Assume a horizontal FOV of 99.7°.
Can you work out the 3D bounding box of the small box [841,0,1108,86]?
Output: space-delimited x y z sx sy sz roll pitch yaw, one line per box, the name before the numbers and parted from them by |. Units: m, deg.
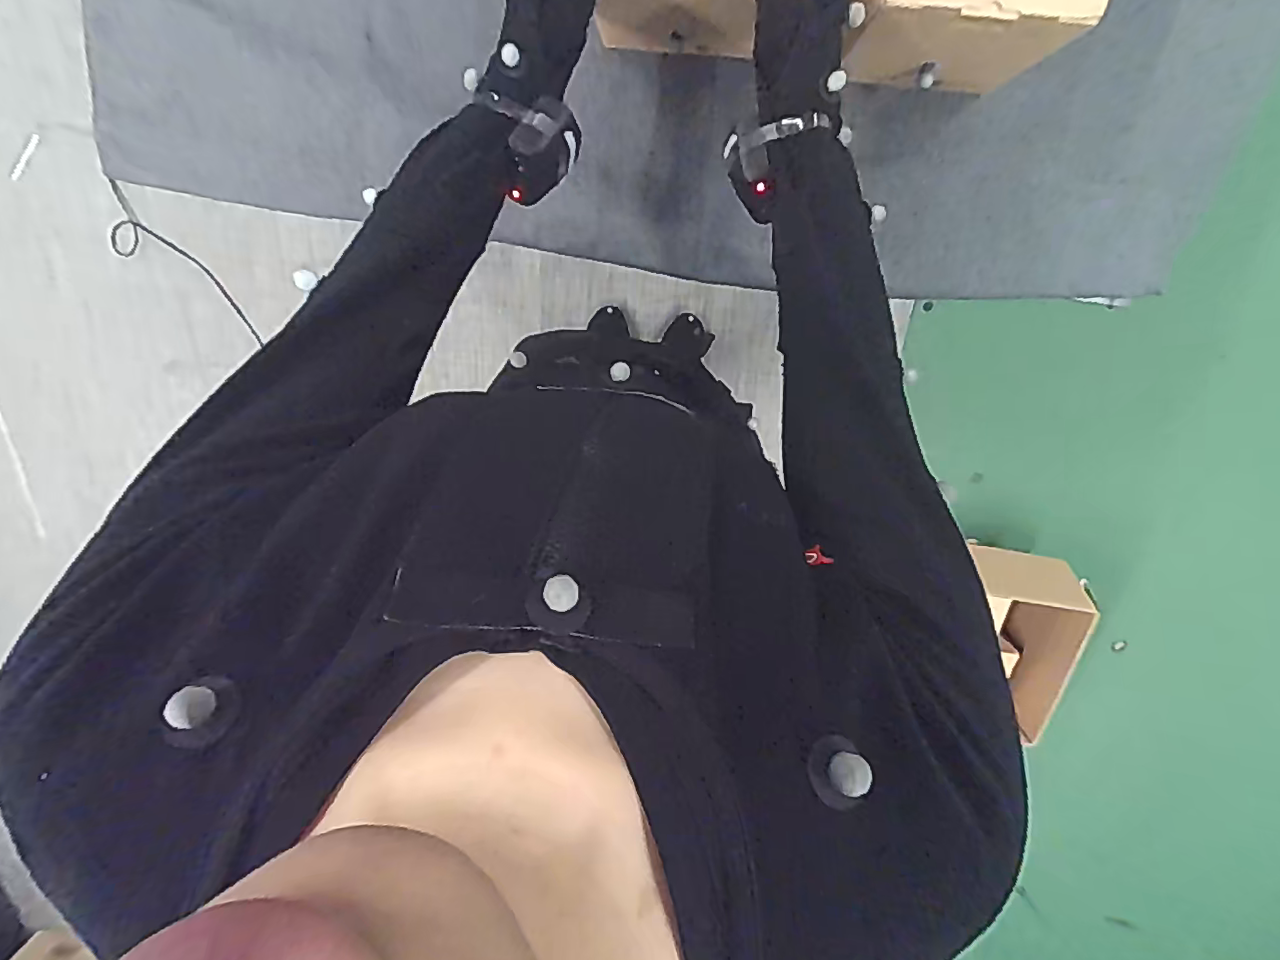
small box | 0.285 -0.470 0.456 0.168 0.176 0.179 7 111 3
